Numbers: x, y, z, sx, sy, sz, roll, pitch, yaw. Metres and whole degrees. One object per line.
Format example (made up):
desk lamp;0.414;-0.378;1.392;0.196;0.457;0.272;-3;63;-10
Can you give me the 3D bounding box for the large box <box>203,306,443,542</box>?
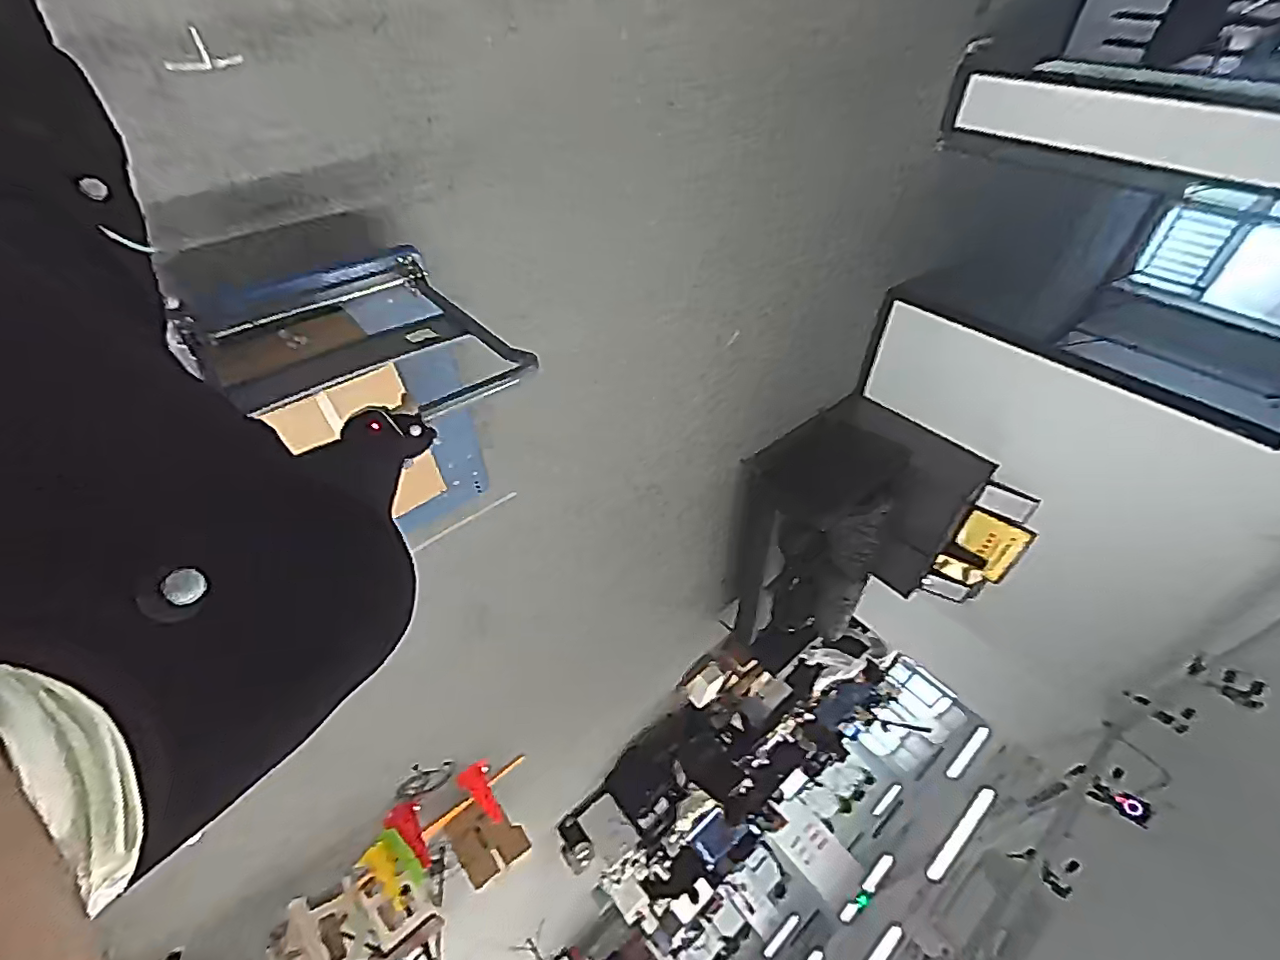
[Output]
large box;-0.739;-0.137;1.302;0.320;0.320;0.408;-31;143;-25
